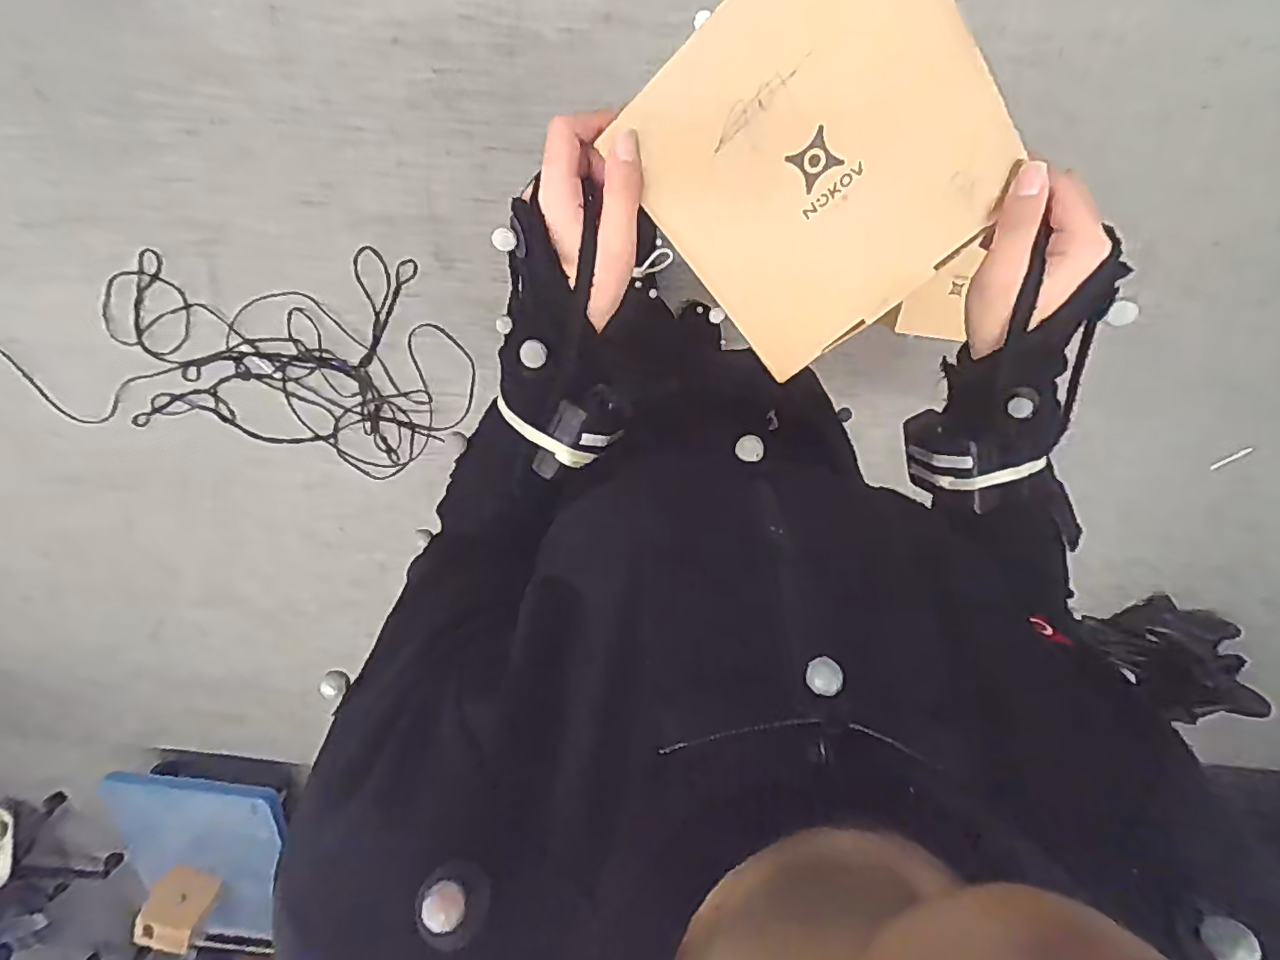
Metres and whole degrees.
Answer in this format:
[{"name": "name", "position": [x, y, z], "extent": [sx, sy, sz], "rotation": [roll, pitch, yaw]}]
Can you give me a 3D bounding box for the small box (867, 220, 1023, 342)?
[{"name": "small box", "position": [0.528, -0.359, 0.970], "extent": [0.168, 0.176, 0.179], "rotation": [7, 114, 0]}]
